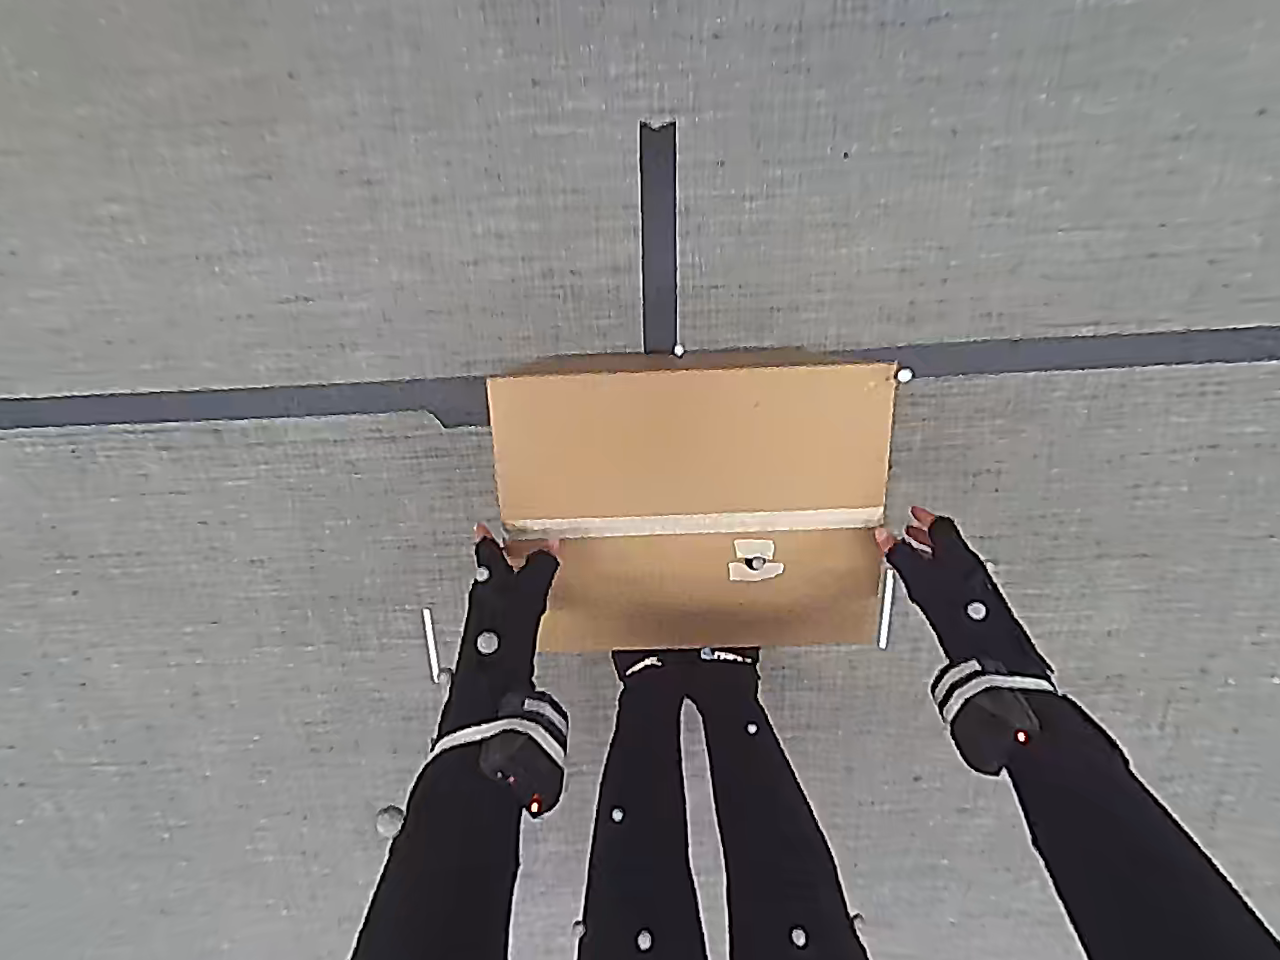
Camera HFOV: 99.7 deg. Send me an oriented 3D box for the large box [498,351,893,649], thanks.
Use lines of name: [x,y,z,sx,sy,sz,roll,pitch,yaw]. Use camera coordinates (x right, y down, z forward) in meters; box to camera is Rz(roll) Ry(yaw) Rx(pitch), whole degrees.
large box: [0.060,-0.002,0.721,0.408,0.320,0.320,-2,106,1]
